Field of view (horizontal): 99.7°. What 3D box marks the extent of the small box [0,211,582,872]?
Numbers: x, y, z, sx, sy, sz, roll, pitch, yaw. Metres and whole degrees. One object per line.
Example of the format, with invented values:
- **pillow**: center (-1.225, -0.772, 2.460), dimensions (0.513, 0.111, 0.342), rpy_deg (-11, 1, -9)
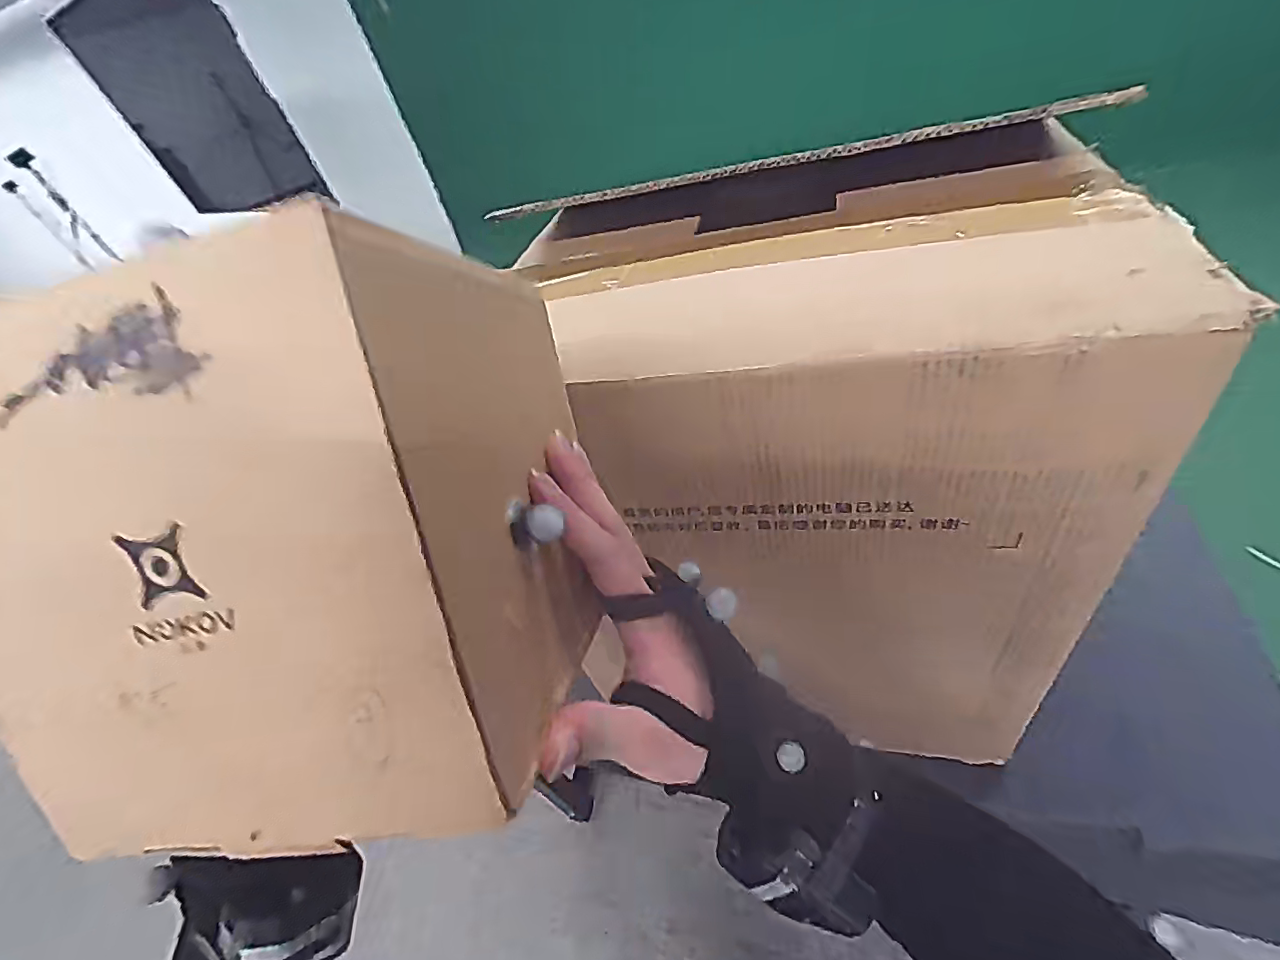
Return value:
- **small box**: center (-0.135, 0.016, 0.227), dimensions (0.168, 0.179, 0.176), rpy_deg (-11, 12, 10)
